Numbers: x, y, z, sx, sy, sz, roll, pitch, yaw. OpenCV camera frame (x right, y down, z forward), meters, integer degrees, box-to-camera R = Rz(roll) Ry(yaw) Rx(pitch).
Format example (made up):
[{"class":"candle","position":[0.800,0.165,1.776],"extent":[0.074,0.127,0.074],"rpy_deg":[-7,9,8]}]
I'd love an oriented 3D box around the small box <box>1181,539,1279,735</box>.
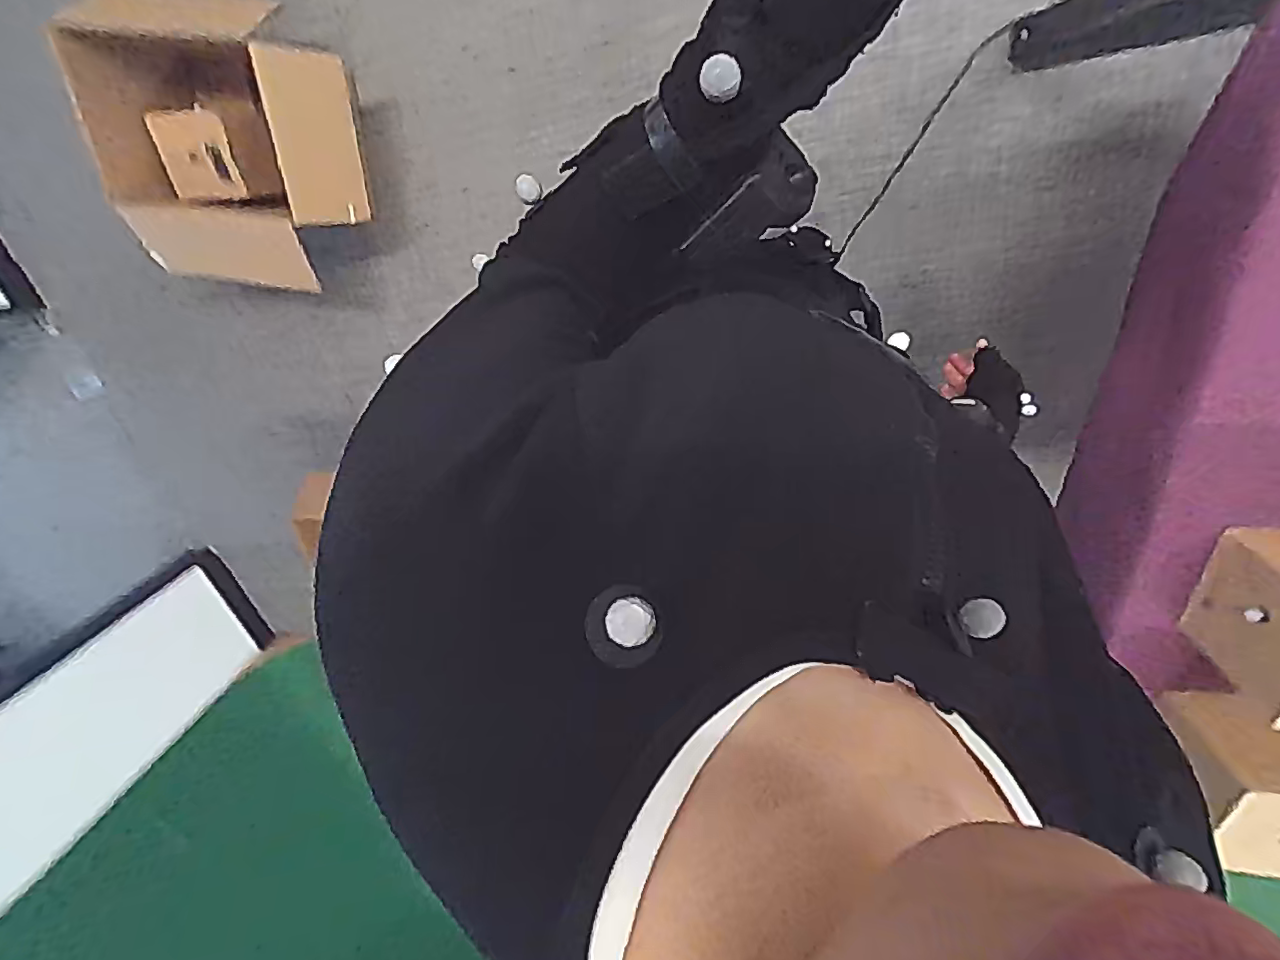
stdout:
[{"class":"small box","position":[0.809,0.182,0.633],"extent":[0.179,0.176,0.168],"rpy_deg":[0,118,11]}]
